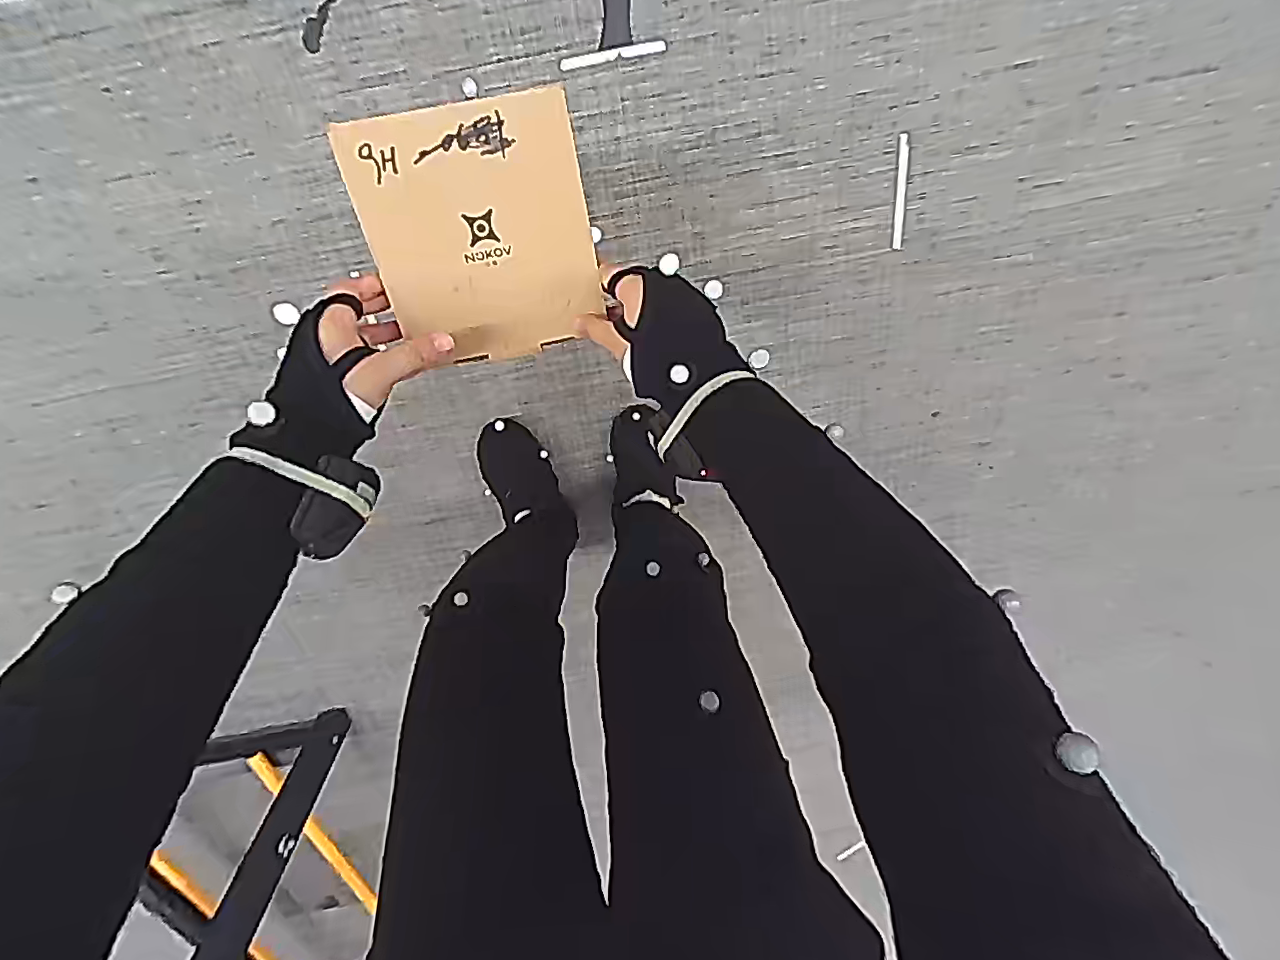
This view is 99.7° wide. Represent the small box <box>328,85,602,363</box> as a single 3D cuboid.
[{"bbox_3d":[-0.134,-0.226,0.483,0.168,0.176,0.179,-12,120,-4],"label":"small box"}]
